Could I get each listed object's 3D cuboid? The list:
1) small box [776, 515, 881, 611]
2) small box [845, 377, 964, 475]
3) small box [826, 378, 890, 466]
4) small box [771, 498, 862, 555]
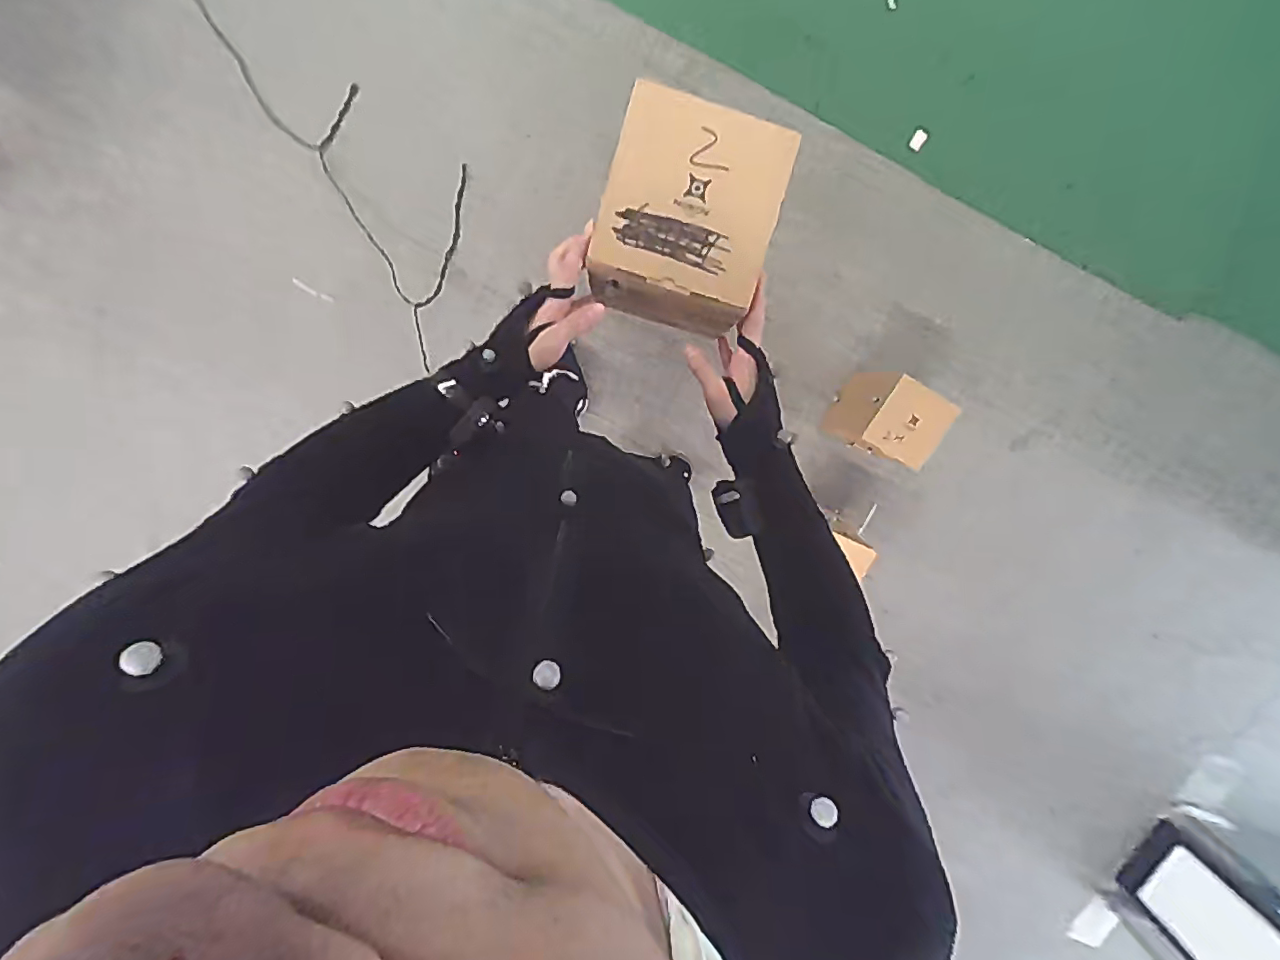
[{"bbox_3d":[0.477,0.205,1.402,0.179,0.176,0.168,24,101,-4],"label":"small box"},{"bbox_3d":[0.635,-0.140,1.325,0.168,0.176,0.179,30,102,-4],"label":"small box"},{"bbox_3d":[0.635,-0.166,1.487,0.168,0.176,0.179,29,102,-5],"label":"small box"},{"bbox_3d":[0.498,0.174,1.560,0.168,0.176,0.179,28,102,-4],"label":"small box"}]
